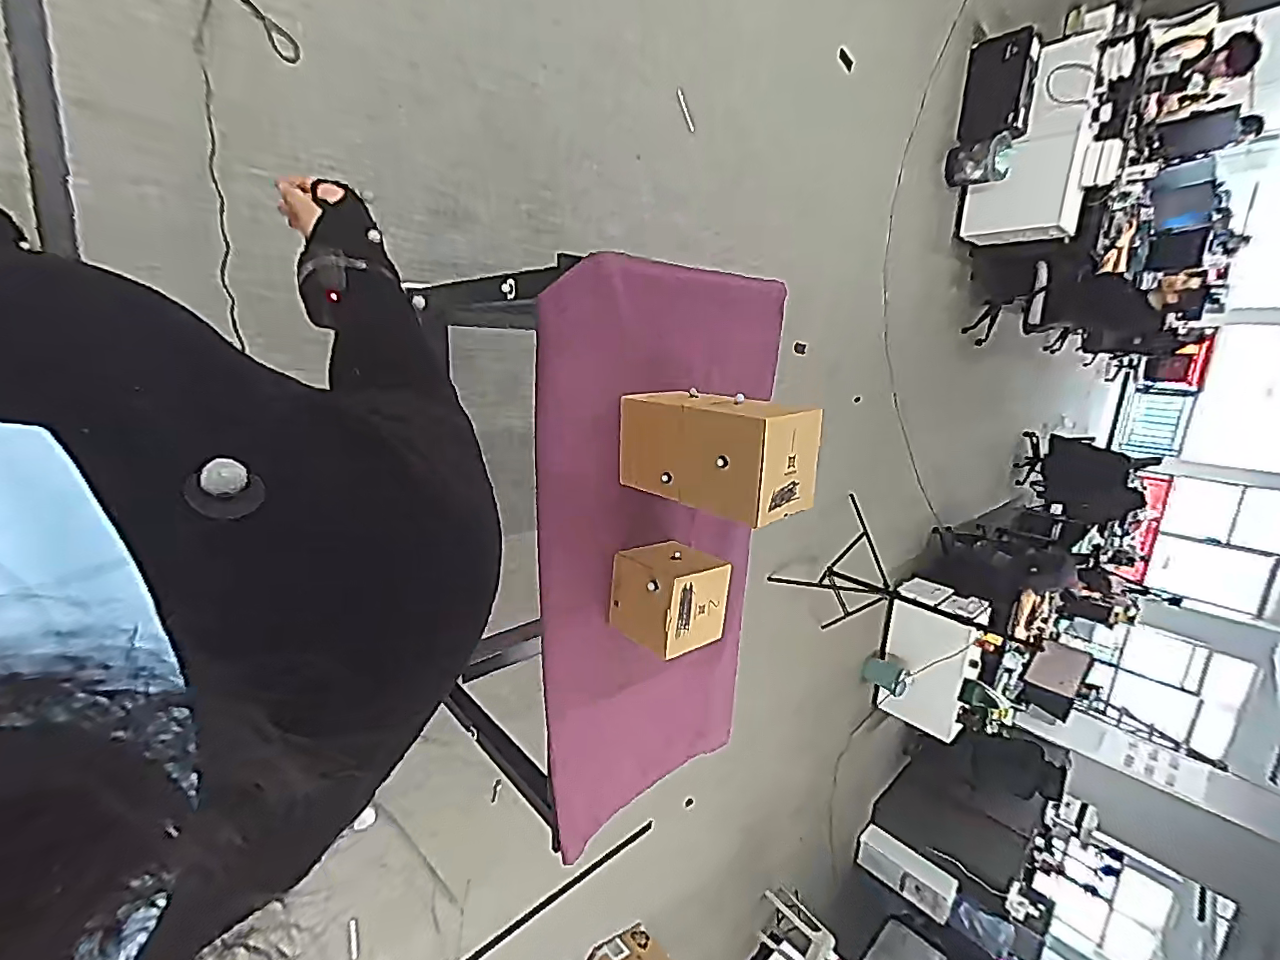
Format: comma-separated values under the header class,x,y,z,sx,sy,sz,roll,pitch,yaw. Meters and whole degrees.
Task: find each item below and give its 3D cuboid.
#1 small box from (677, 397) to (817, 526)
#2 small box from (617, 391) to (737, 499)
class,x,y,z,sx,sy,sz,roll,pitch,yaw
small box,0.178,-0.041,0.926,0.168,0.176,0.179,-13,111,-42
small box,0.069,-0.078,1.044,0.168,0.176,0.179,-13,111,-41
